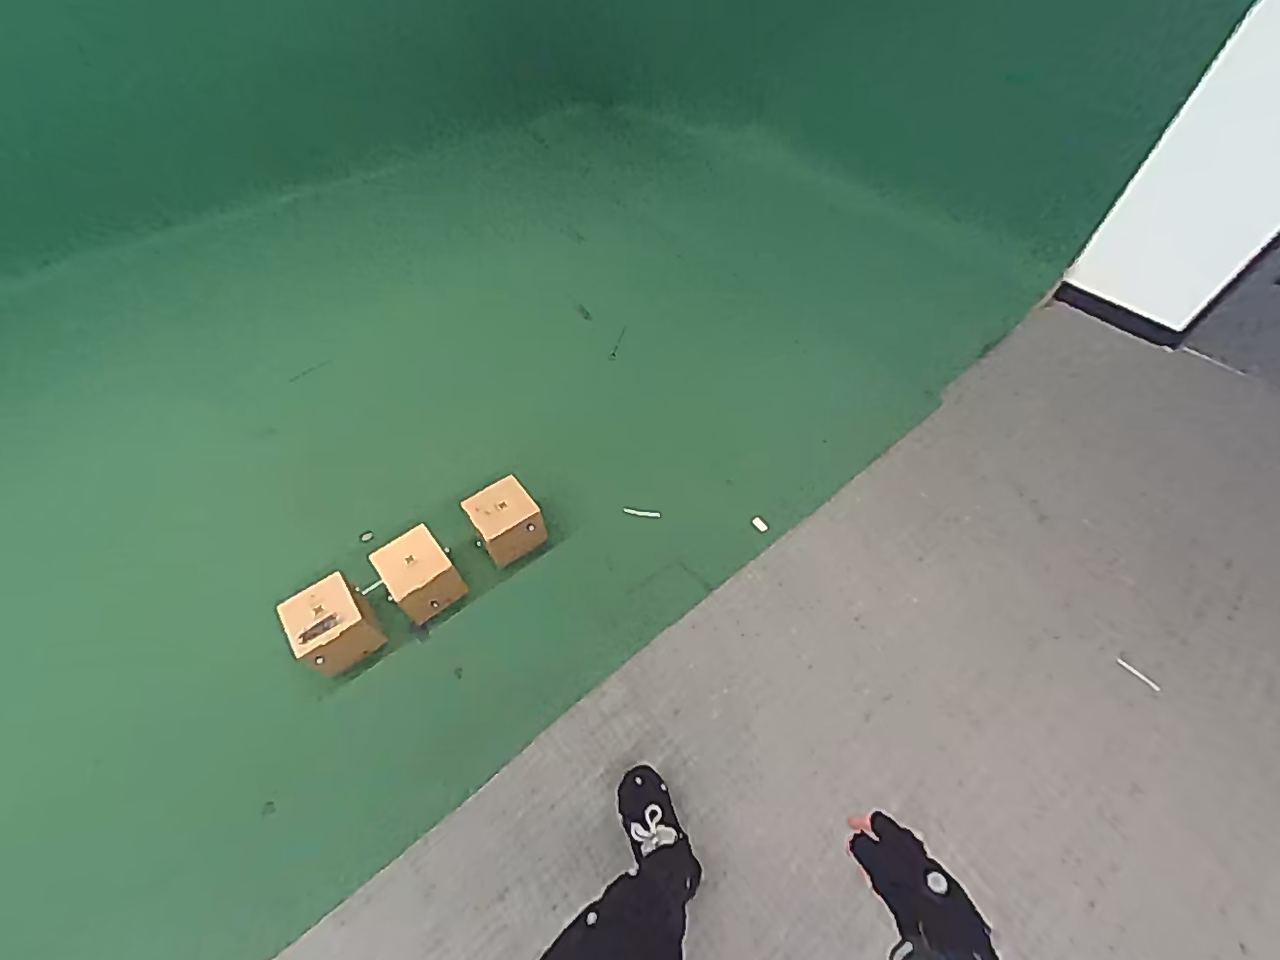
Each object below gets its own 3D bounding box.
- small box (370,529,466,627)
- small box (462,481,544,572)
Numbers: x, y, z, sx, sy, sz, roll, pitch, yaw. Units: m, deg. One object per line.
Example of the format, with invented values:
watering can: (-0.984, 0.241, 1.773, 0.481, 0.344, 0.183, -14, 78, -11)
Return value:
small box: (-0.617, 0.278, 1.517, 0.168, 0.176, 0.179, -34, 61, -23)
small box: (-0.400, 0.141, 1.616, 0.179, 0.176, 0.168, -31, 59, -21)
